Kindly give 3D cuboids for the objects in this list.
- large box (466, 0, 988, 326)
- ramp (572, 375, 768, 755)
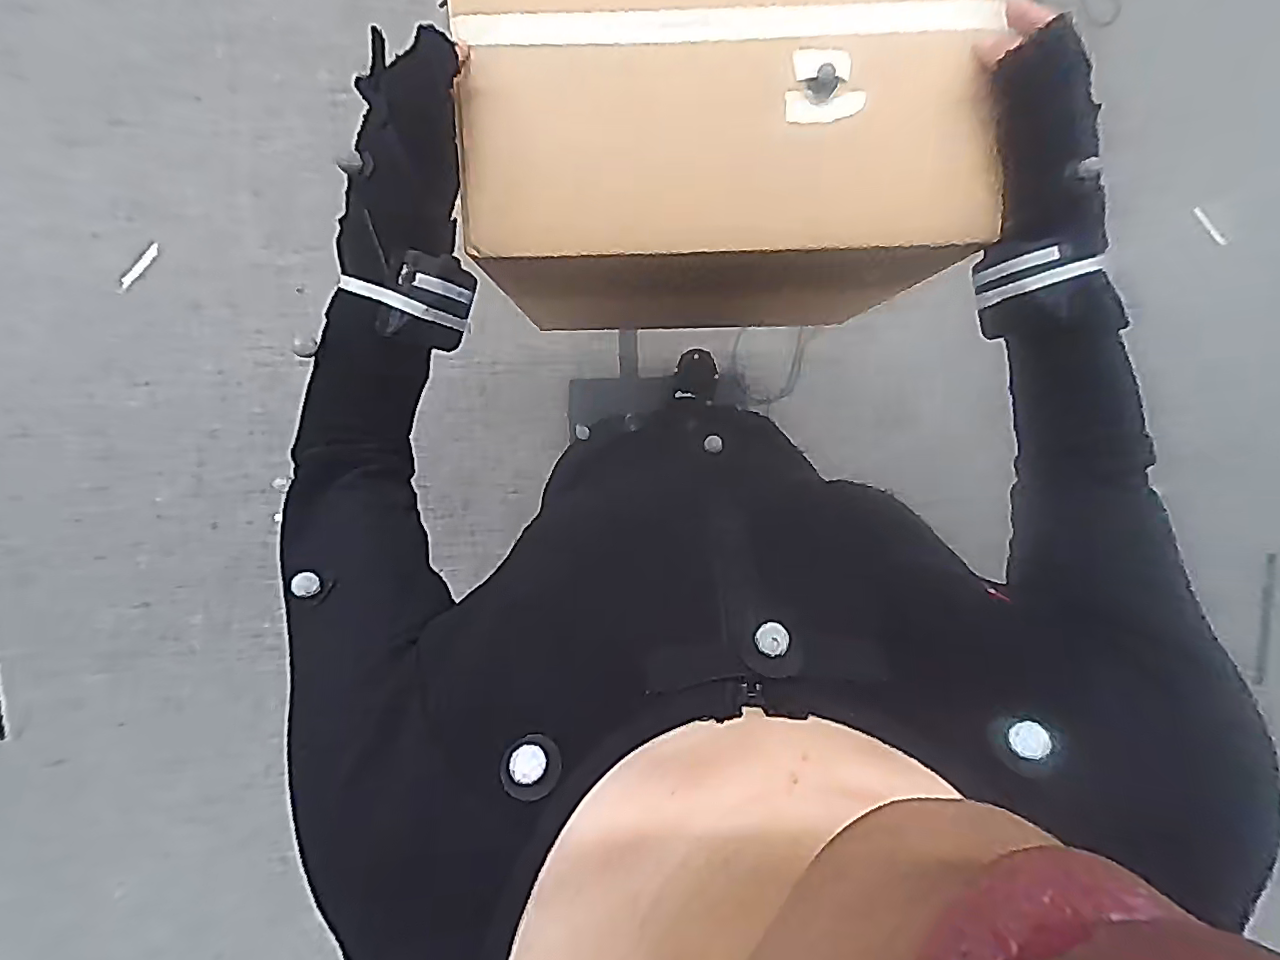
[{"bbox_3d":[0.063,-0.353,0.559,0.408,0.320,0.320,-2,95,-1],"label":"large box"},{"bbox_3d":[0.069,0.213,1.459,0.509,0.206,0.991,-4,95,1],"label":"ramp"}]
